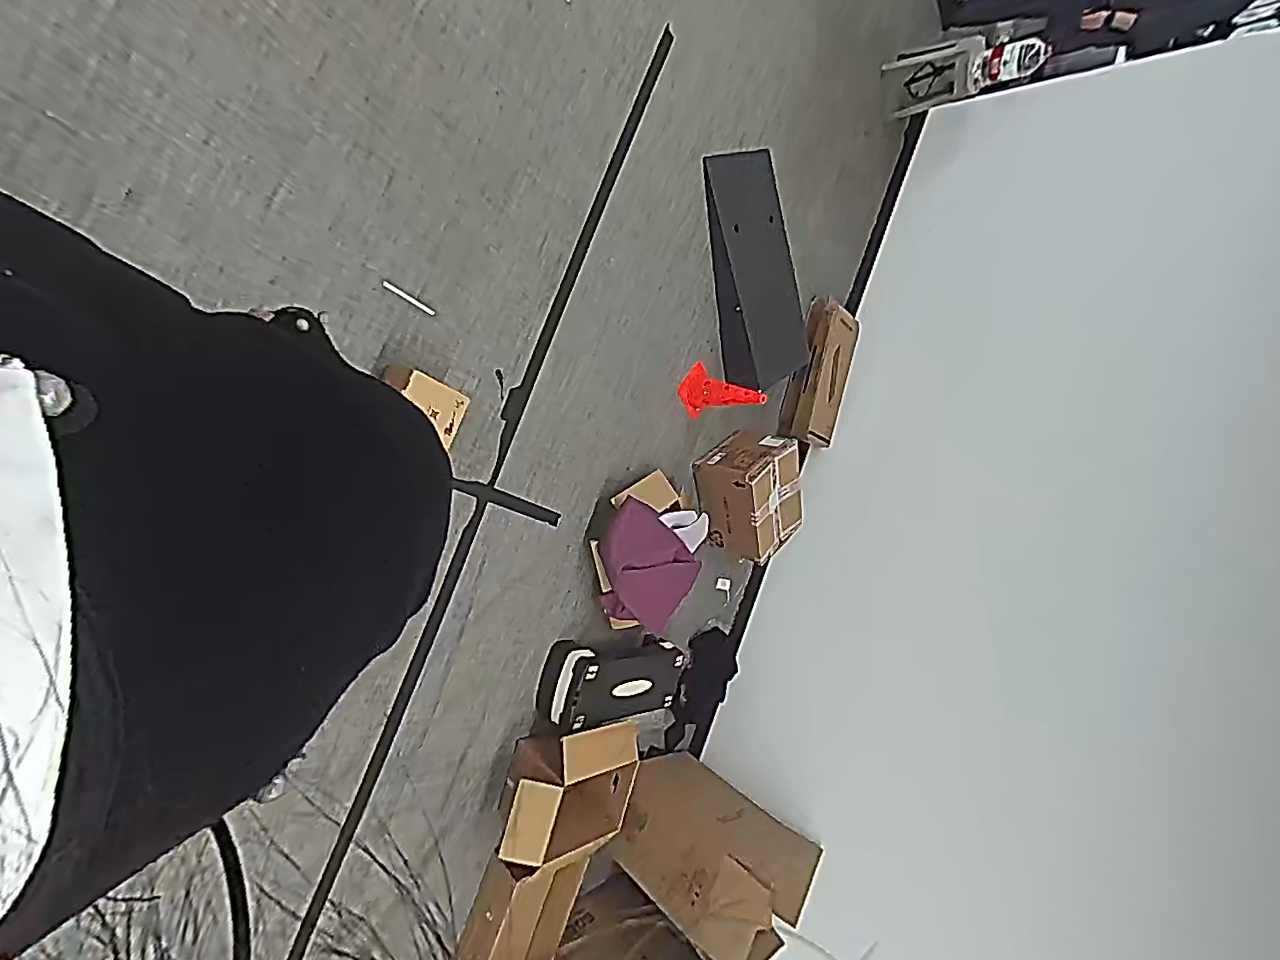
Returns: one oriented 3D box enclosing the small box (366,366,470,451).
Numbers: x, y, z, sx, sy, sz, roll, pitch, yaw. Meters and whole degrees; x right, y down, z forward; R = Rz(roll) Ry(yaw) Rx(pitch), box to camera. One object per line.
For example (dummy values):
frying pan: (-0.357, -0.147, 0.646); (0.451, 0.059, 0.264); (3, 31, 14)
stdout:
small box: (-0.602, -0.195, 1.454); (0.179, 0.176, 0.168); (30, 80, -47)
